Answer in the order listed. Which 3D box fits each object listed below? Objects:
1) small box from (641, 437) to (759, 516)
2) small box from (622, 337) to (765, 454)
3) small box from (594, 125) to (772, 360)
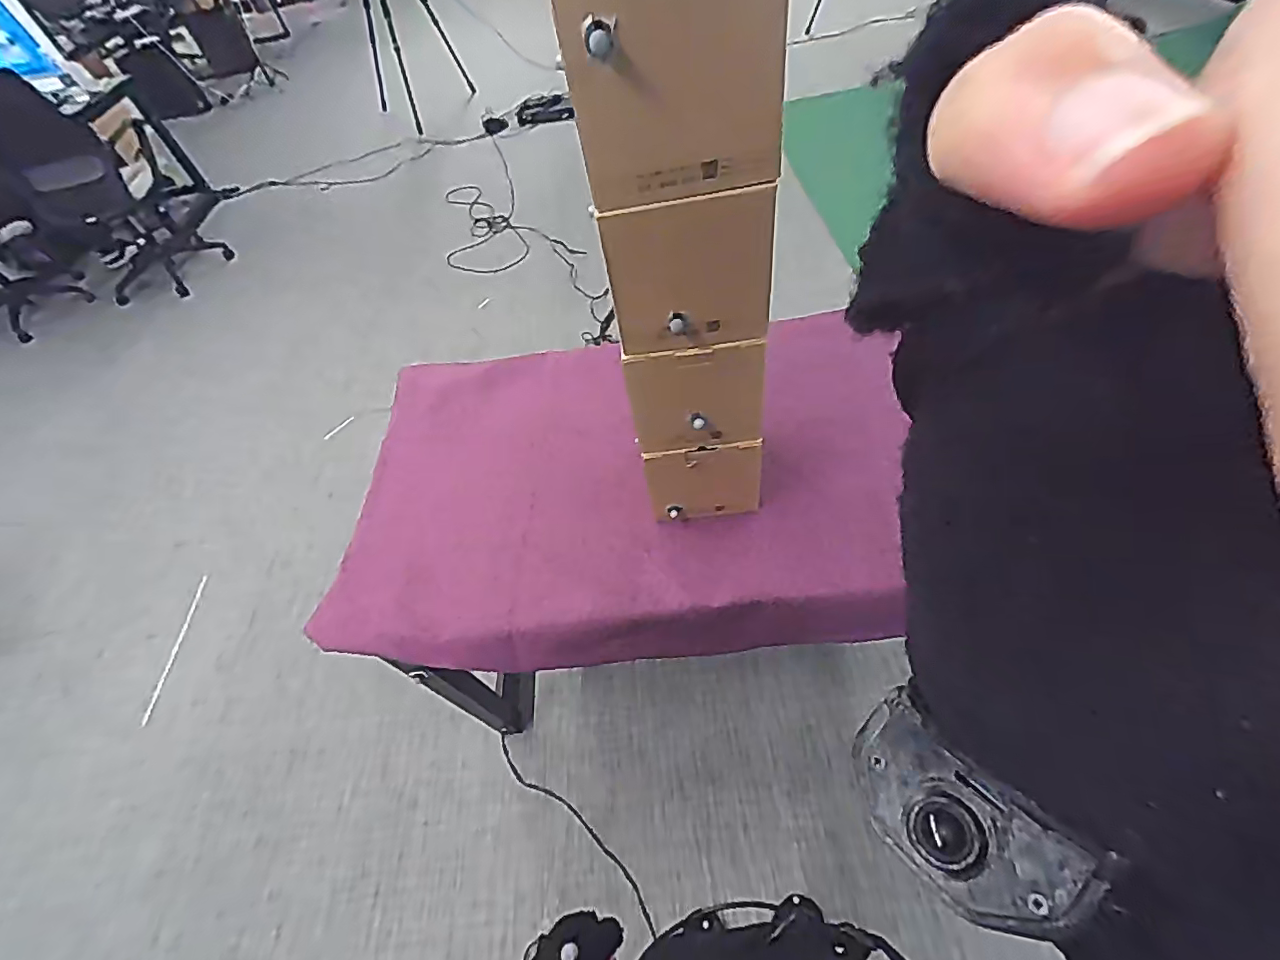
[{"bbox_3d":[0.093,-0.055,0.853,0.168,0.176,0.179,-6,52,5],"label":"small box"},{"bbox_3d":[0.068,-0.159,0.729,0.168,0.176,0.179,-7,53,5],"label":"small box"},{"bbox_3d":[0.046,-0.260,0.603,0.168,0.176,0.179,-7,52,5],"label":"small box"}]
